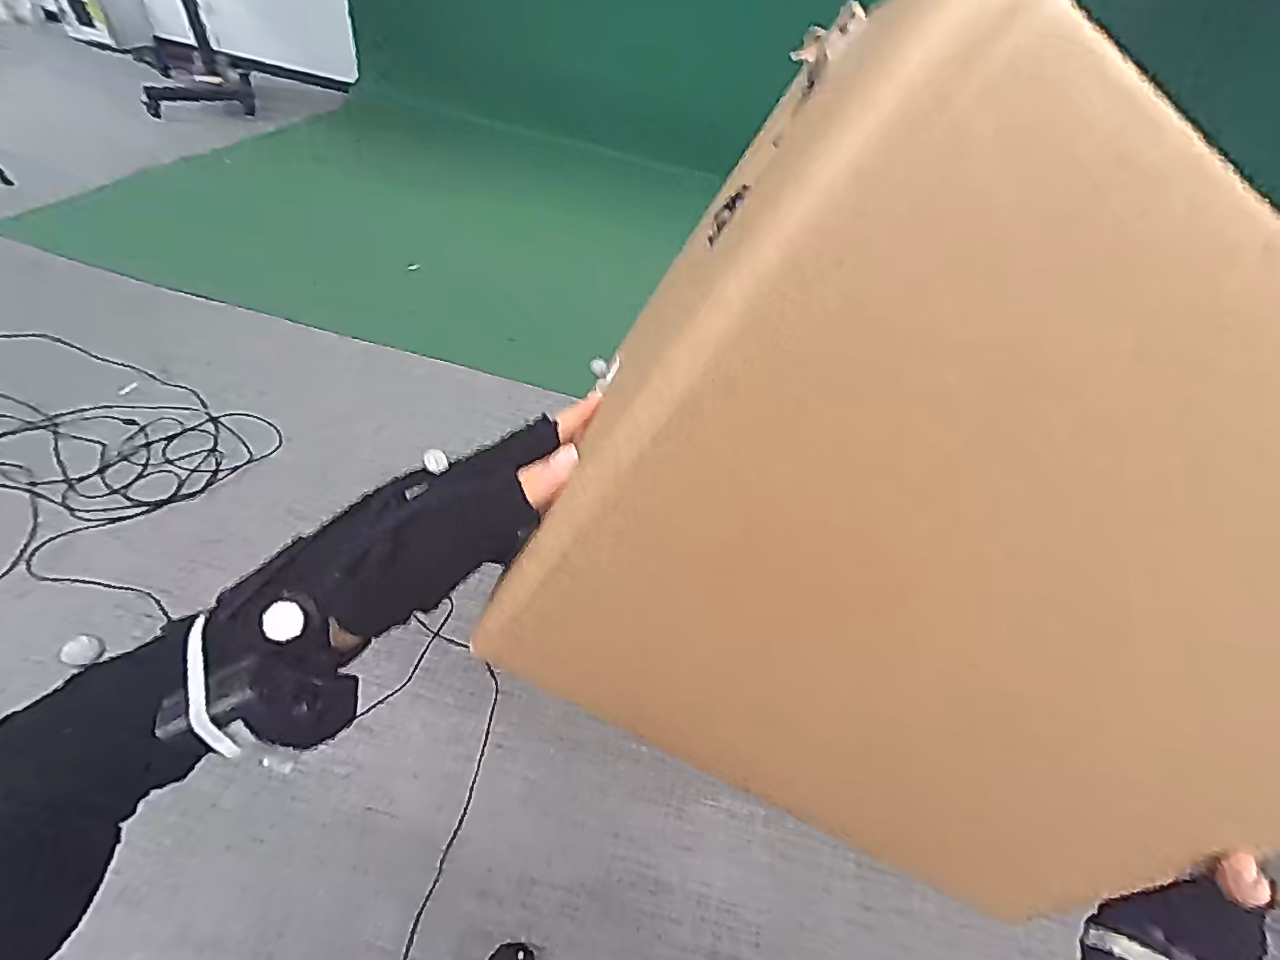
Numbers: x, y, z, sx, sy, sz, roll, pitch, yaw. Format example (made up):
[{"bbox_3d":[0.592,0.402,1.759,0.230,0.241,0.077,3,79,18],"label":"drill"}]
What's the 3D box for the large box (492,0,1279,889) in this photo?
[{"bbox_3d":[0.178,0.000,0.374,0.408,0.320,0.320,33,32,-12],"label":"large box"}]
